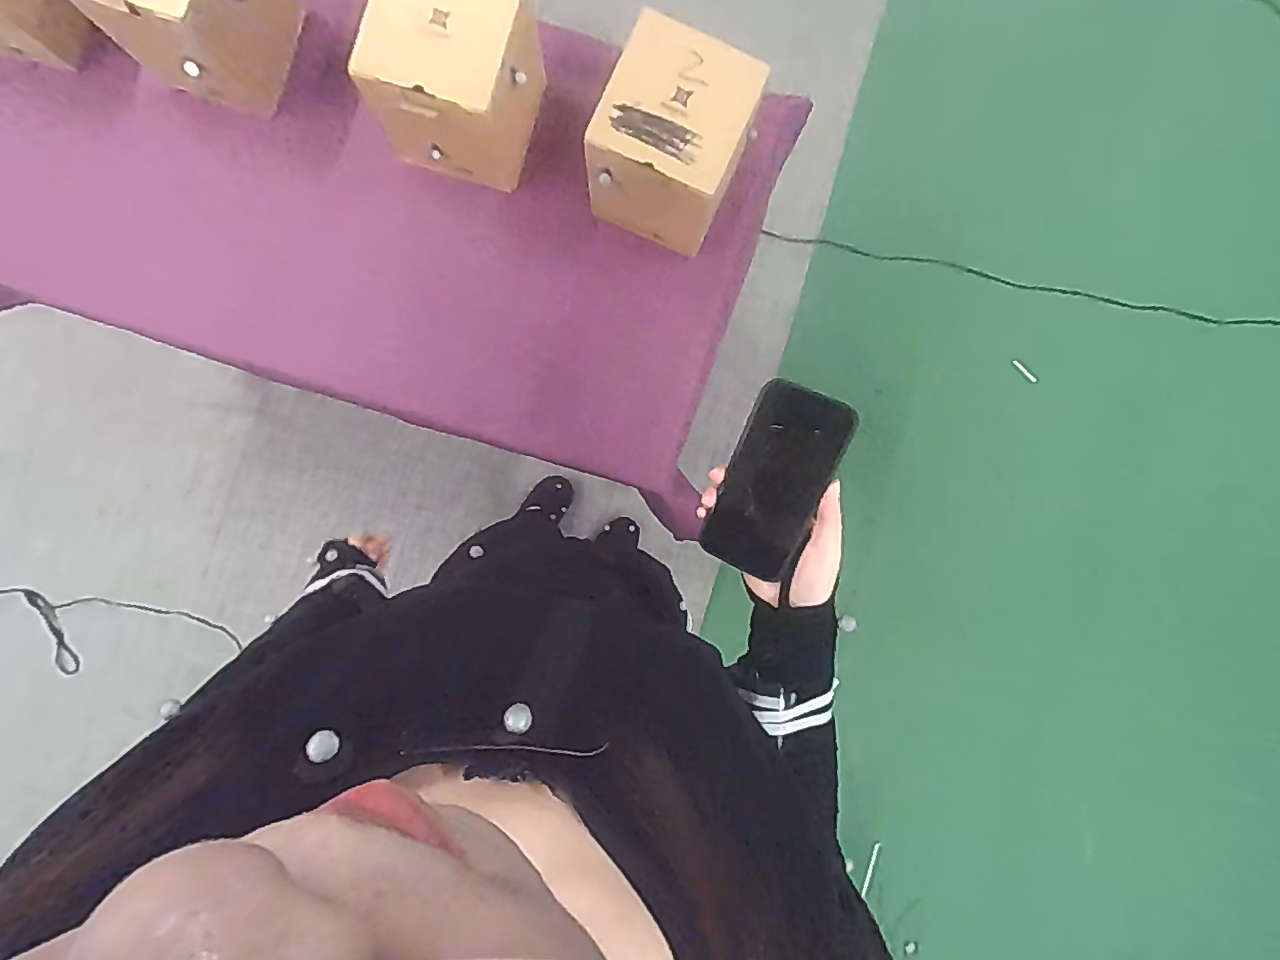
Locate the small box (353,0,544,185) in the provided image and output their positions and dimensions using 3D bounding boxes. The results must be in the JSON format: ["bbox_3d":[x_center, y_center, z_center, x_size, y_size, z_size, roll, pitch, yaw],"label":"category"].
[{"bbox_3d":[-0.229,-0.527,0.698,0.168,0.176,0.179,16,89,-2],"label":"small box"}]

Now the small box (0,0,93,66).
[{"bbox_3d":[-0.841,-0.681,0.676,0.168,0.176,0.179,13,89,-2],"label":"small box"}]

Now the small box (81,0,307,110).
[{"bbox_3d":[-0.565,-0.624,0.687,0.168,0.176,0.179,18,89,-3],"label":"small box"}]
